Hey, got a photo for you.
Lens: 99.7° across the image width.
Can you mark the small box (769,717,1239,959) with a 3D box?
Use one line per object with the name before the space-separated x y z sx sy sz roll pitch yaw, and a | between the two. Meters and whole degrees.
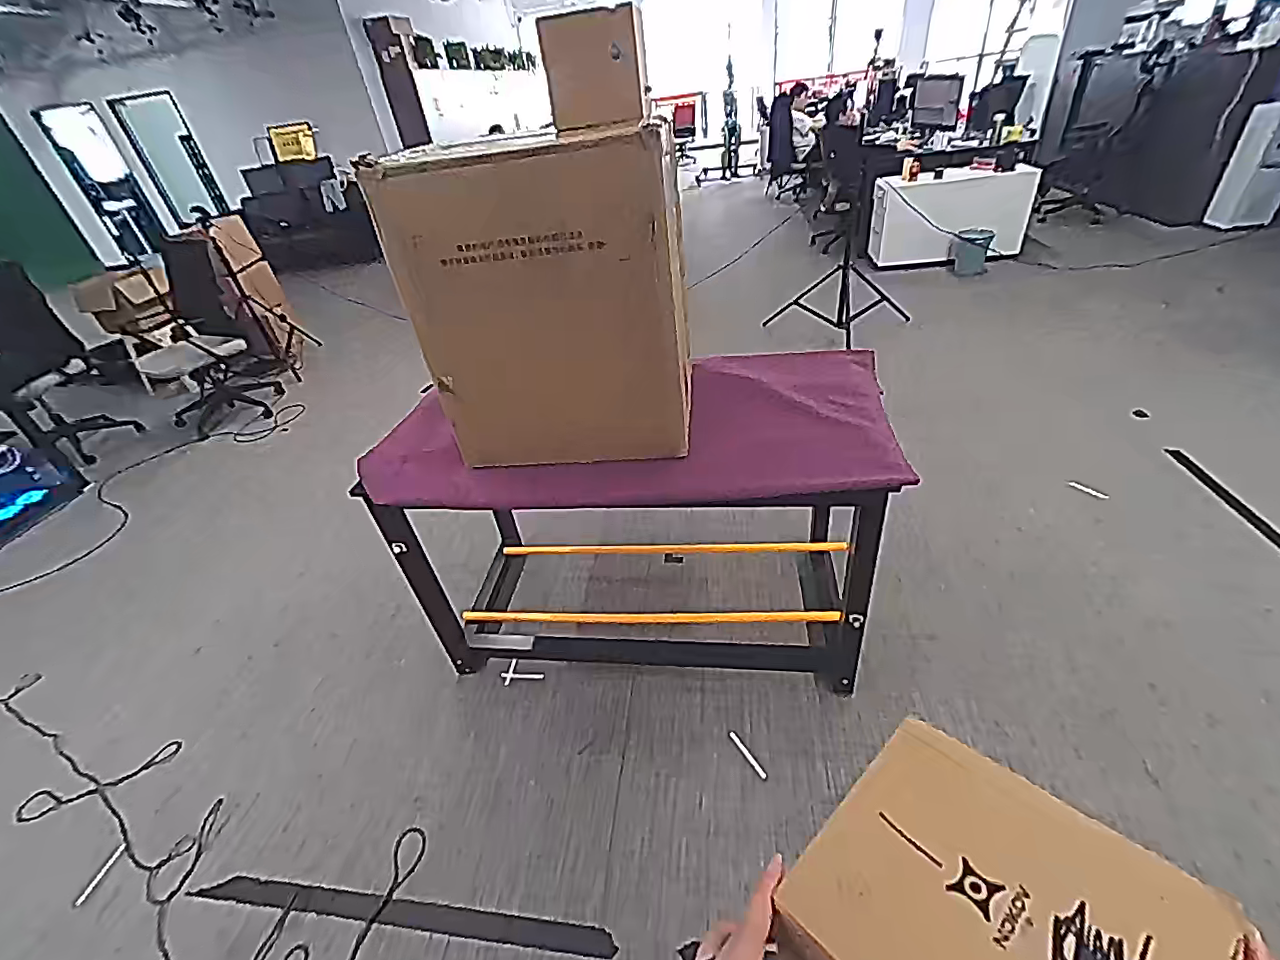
small box | 0.206 0.301 0.338 0.168 0.176 0.179 -31 35 -29
